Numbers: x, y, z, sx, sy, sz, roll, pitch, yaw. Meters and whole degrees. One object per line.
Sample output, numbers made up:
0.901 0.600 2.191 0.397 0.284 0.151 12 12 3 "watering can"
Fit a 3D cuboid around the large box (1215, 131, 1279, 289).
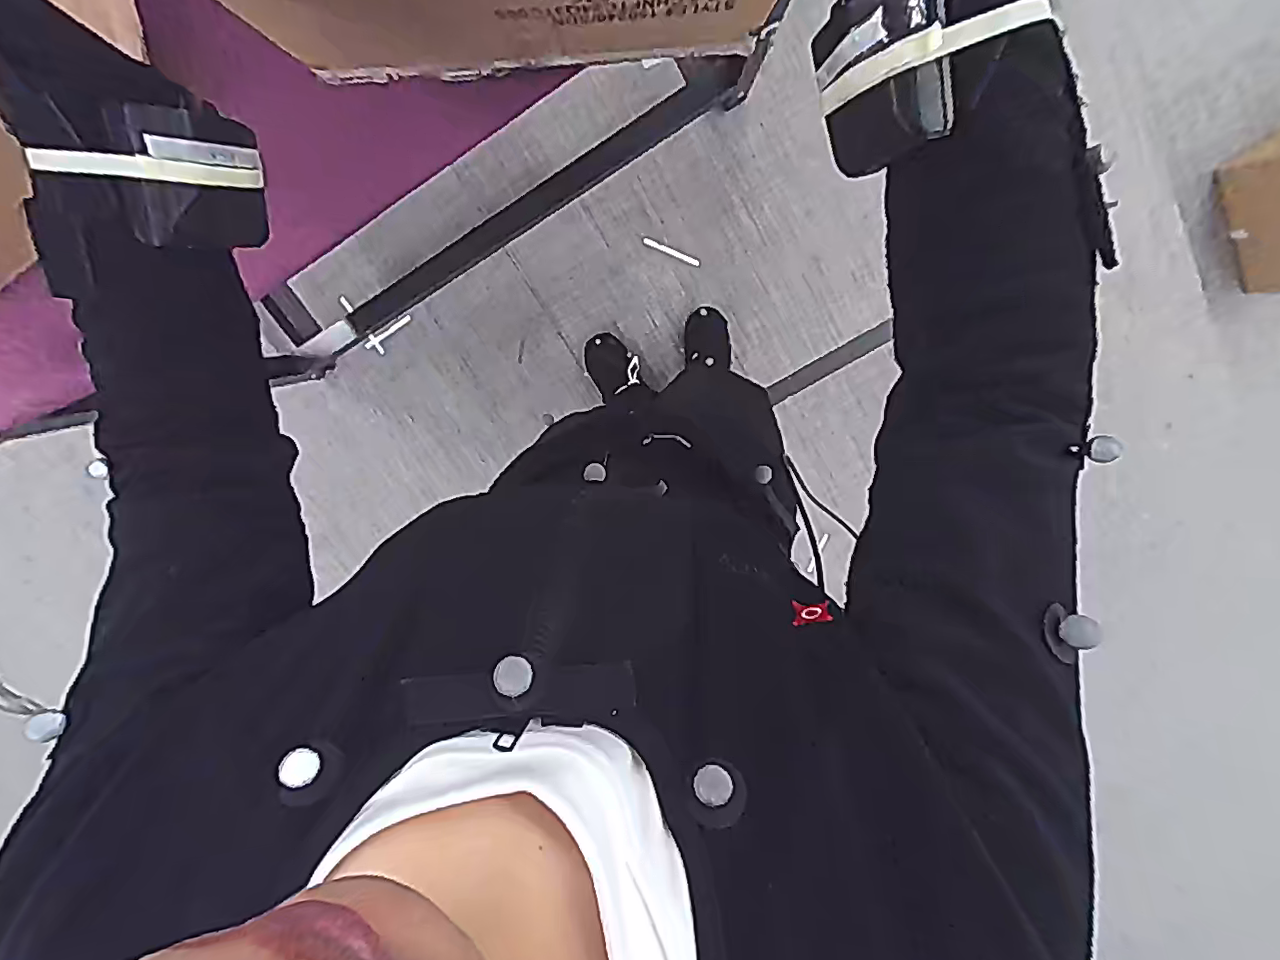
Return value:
1.517 -0.623 1.061 0.408 0.320 0.320 -31 104 10 "large box"
